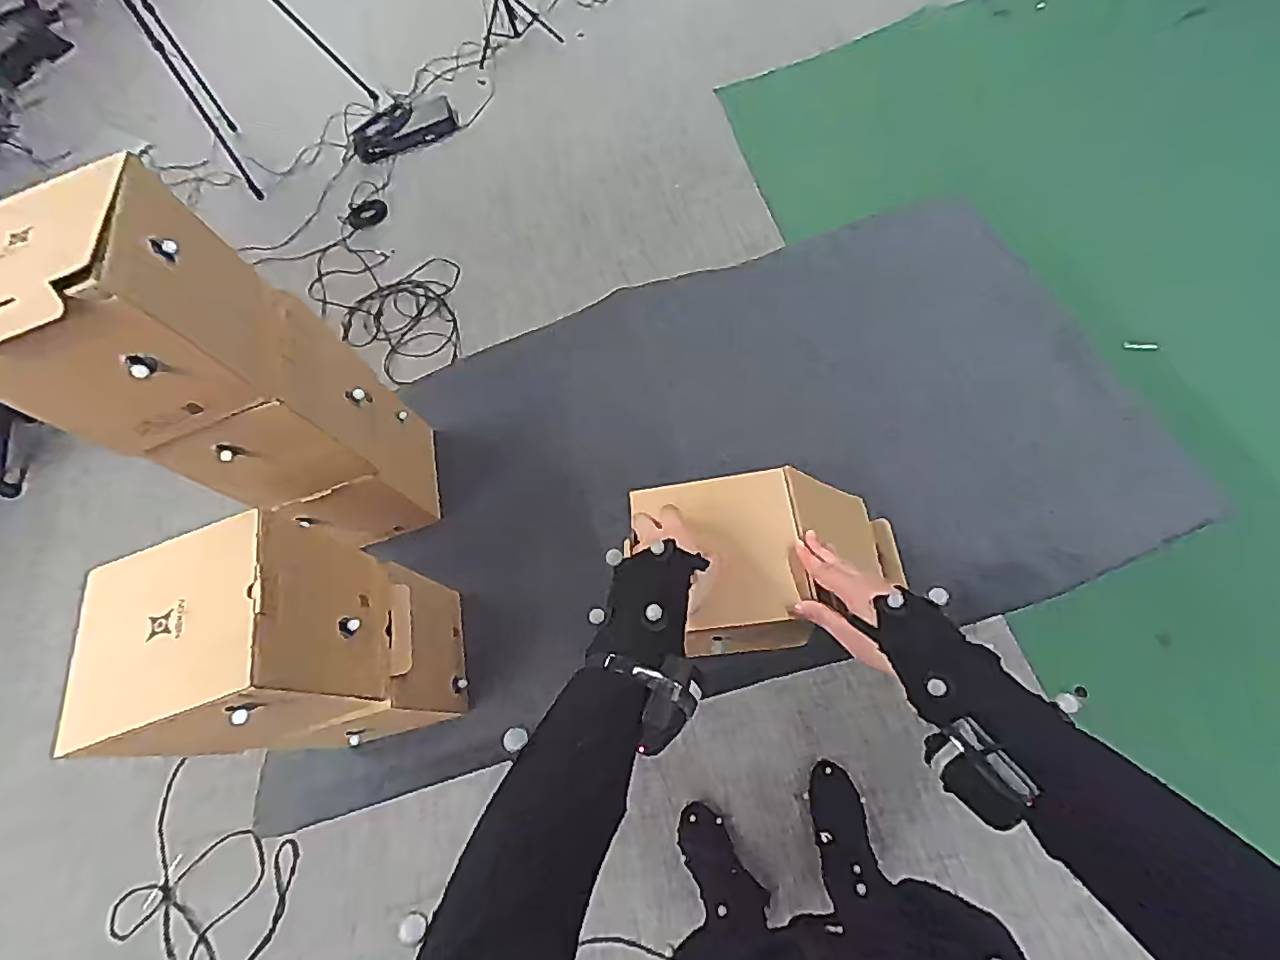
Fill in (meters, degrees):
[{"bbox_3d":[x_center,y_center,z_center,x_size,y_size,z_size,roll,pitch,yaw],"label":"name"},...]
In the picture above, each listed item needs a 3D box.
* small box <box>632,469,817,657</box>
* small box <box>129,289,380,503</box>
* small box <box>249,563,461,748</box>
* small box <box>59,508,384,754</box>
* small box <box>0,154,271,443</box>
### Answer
[{"bbox_3d":[0.096,0.106,0.629,0.179,0.176,0.168,-8,64,8],"label":"small box"},{"bbox_3d":[-0.447,-0.090,0.657,0.179,0.176,0.168,-17,64,4],"label":"small box"},{"bbox_3d":[-0.337,0.221,0.672,0.179,0.176,0.168,-17,63,5],"label":"small box"},{"bbox_3d":[-0.384,0.156,0.531,0.179,0.176,0.168,-21,63,2],"label":"small box"},{"bbox_3d":[-0.486,-0.155,0.513,0.168,0.176,0.179,-21,62,1],"label":"small box"}]
